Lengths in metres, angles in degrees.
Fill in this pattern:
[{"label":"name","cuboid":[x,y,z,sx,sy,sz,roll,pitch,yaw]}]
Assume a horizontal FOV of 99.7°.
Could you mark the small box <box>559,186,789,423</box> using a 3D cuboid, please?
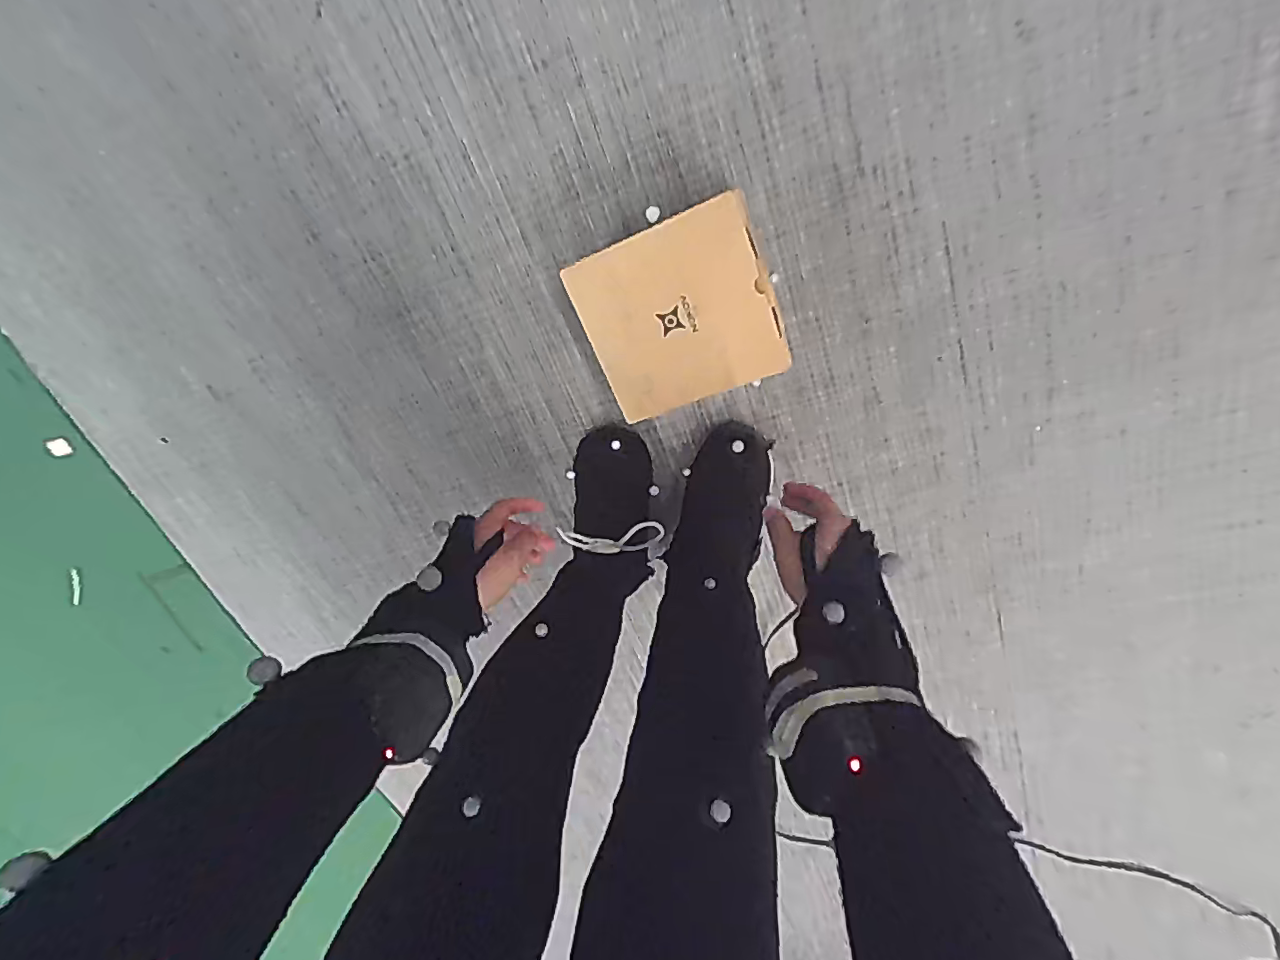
[{"label":"small box","cuboid":[0.046,-0.184,0.568,0.179,0.176,0.168,-18,112,19]}]
